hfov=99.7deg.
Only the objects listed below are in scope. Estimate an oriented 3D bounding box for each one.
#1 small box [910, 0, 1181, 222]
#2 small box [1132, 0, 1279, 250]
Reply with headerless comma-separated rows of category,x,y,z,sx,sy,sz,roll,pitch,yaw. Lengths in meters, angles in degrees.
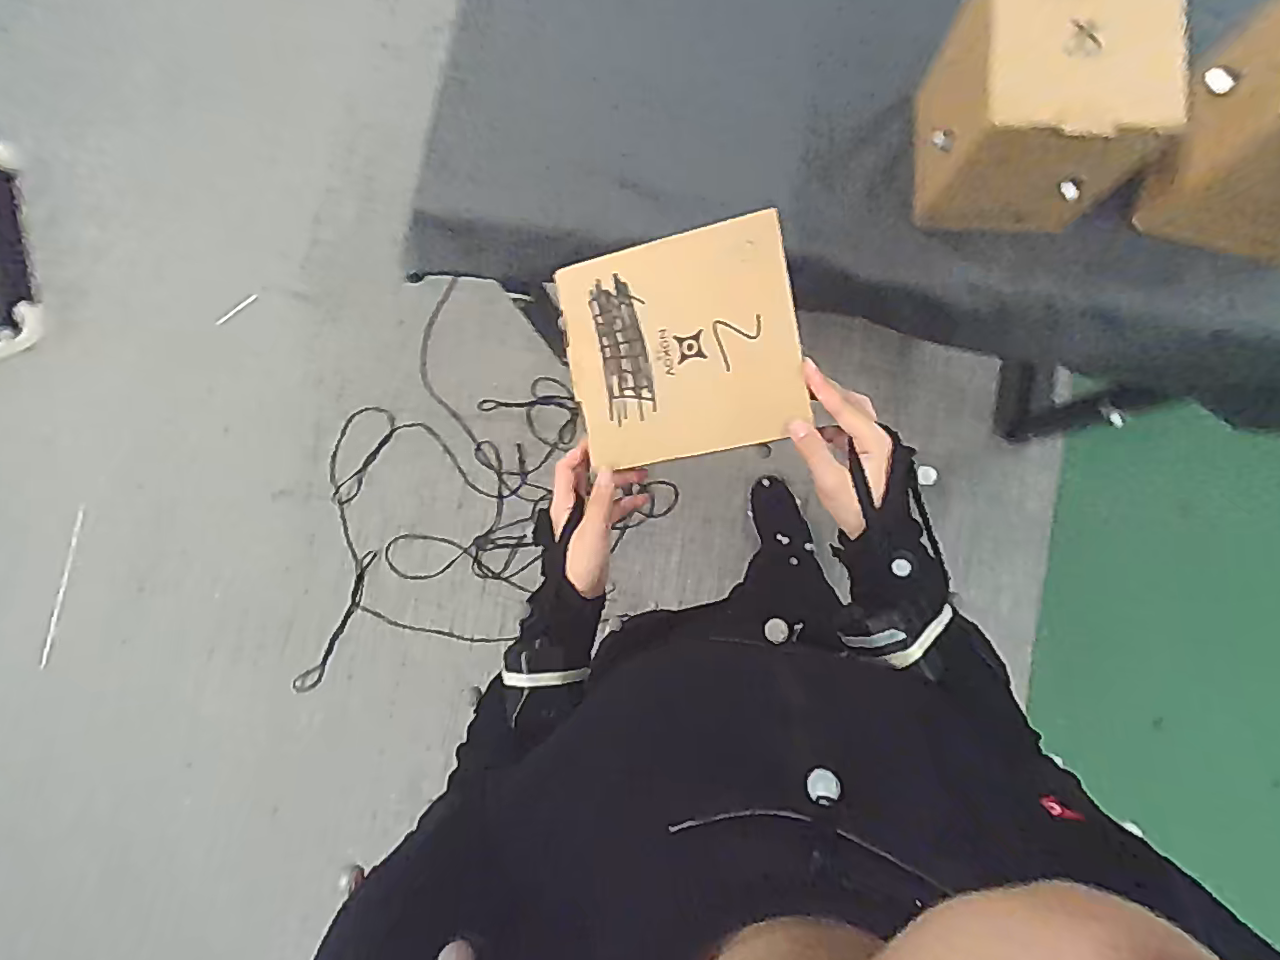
small box,0.402,-0.394,0.566,0.168,0.176,0.179,3,84,4
small box,0.657,-0.359,0.540,0.179,0.176,0.168,18,86,6
